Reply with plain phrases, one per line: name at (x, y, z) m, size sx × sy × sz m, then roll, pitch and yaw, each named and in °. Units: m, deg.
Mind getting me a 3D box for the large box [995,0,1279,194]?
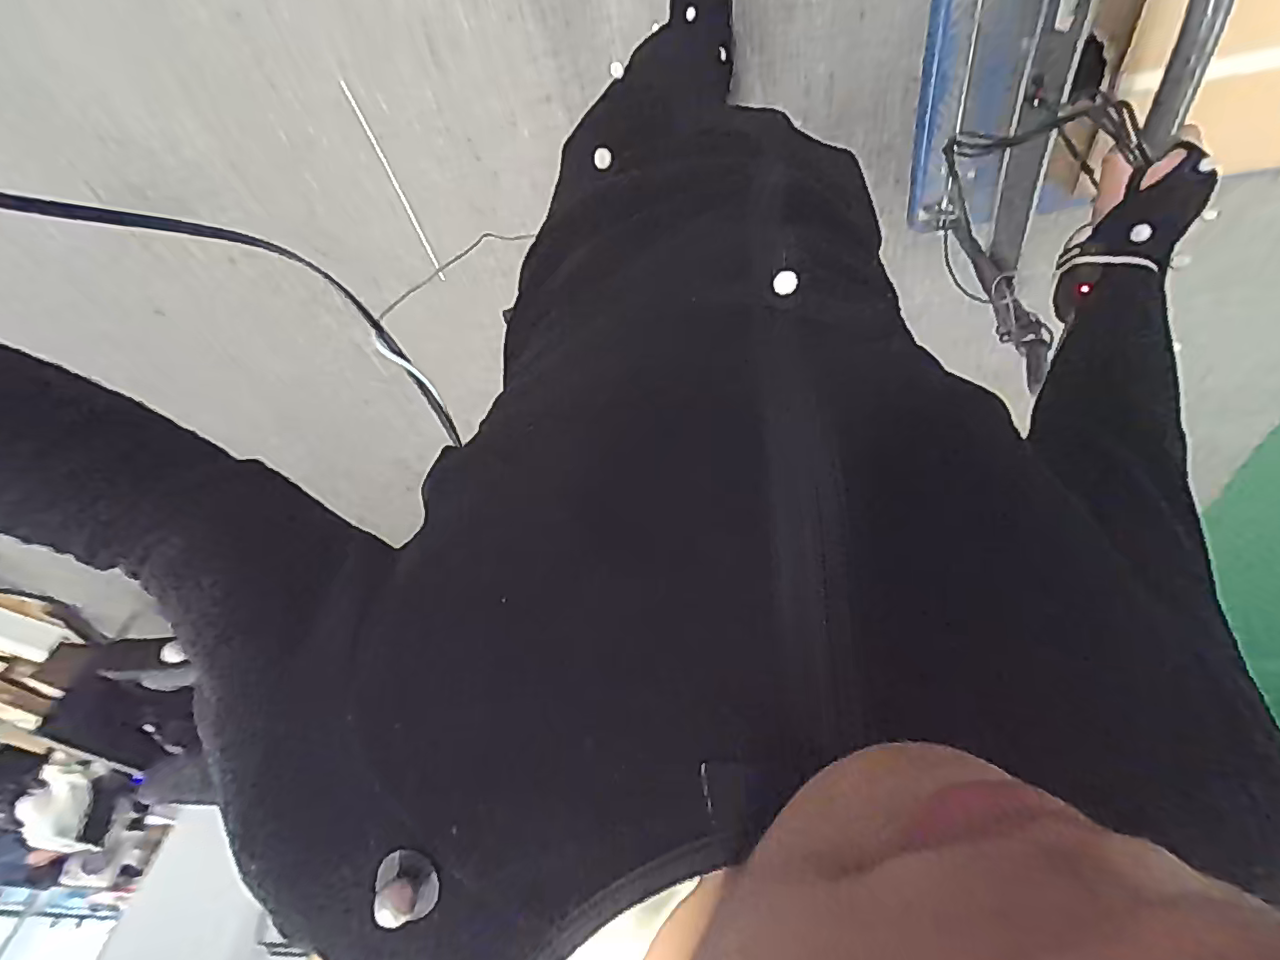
large box at (0.866, -0.697, 0.849) m, size 0.408 × 0.320 × 0.320 m, roll -5°, pitch 136°, yaw 10°
